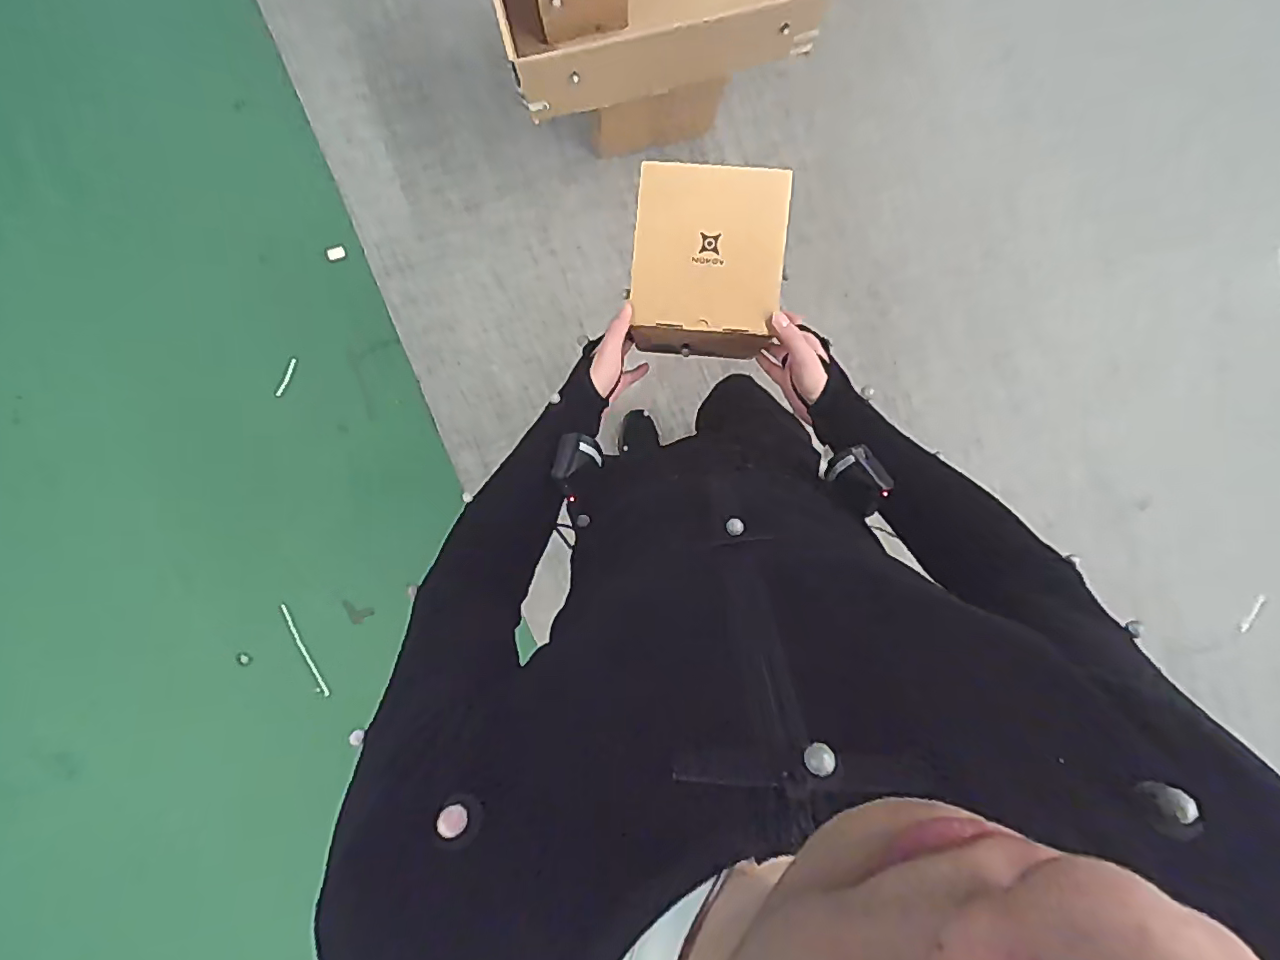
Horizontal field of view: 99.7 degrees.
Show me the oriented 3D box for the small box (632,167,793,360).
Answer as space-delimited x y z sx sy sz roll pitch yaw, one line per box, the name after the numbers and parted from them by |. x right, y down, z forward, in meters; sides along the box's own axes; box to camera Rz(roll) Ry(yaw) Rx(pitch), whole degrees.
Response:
0.080 -0.253 0.670 0.168 0.176 0.179 4 96 1 | small box
